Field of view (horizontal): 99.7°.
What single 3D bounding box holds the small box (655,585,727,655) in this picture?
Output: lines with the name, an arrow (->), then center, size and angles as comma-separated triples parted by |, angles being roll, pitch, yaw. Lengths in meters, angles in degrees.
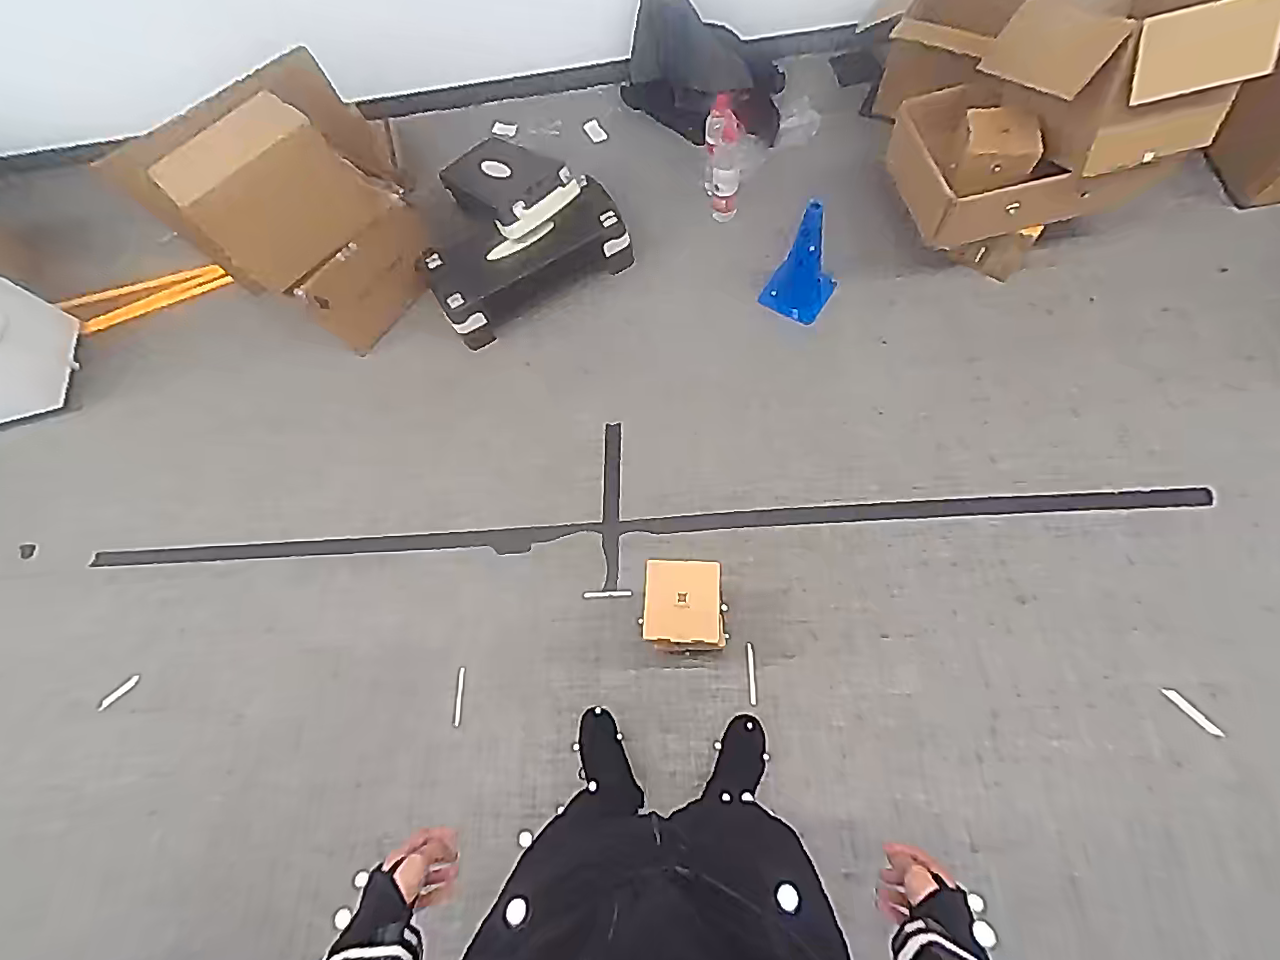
small box -> 0.132, 0.365, 1.407 | 0.179, 0.176, 0.168 | -4, 70, 7

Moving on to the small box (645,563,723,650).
small box -> 0.106, 0.299, 1.260 | 0.168, 0.176, 0.179 | 1, 71, 8
